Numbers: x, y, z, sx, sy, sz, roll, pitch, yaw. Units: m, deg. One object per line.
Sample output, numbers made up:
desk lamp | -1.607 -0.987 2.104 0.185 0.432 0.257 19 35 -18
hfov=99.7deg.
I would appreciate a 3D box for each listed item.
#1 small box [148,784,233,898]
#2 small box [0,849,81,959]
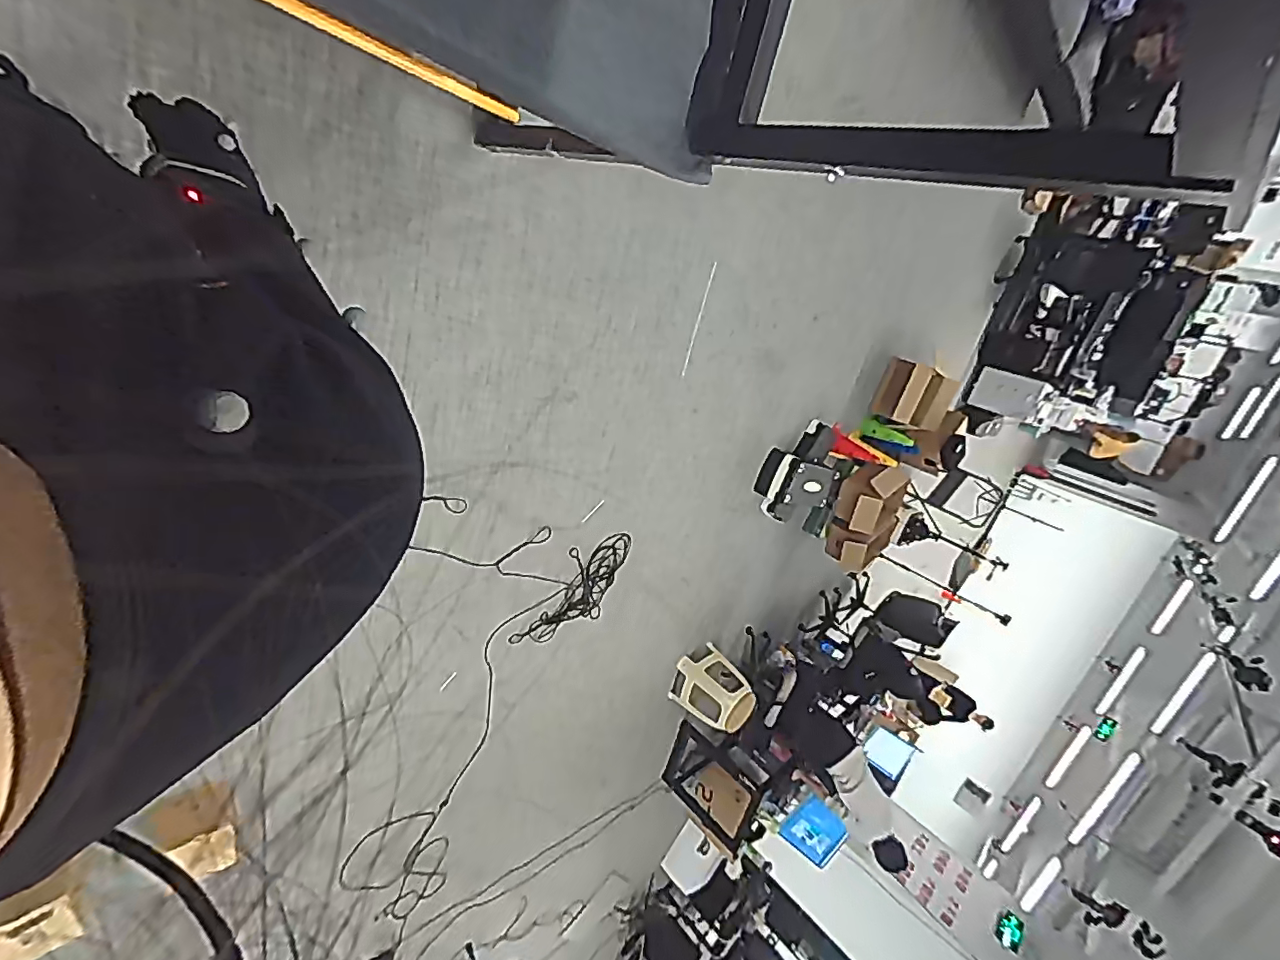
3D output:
small box | -1.289 1.026 1.551 0.168 0.176 0.179 -9 120 -45
small box | -1.509 1.054 1.324 0.168 0.176 0.179 -13 124 -42
